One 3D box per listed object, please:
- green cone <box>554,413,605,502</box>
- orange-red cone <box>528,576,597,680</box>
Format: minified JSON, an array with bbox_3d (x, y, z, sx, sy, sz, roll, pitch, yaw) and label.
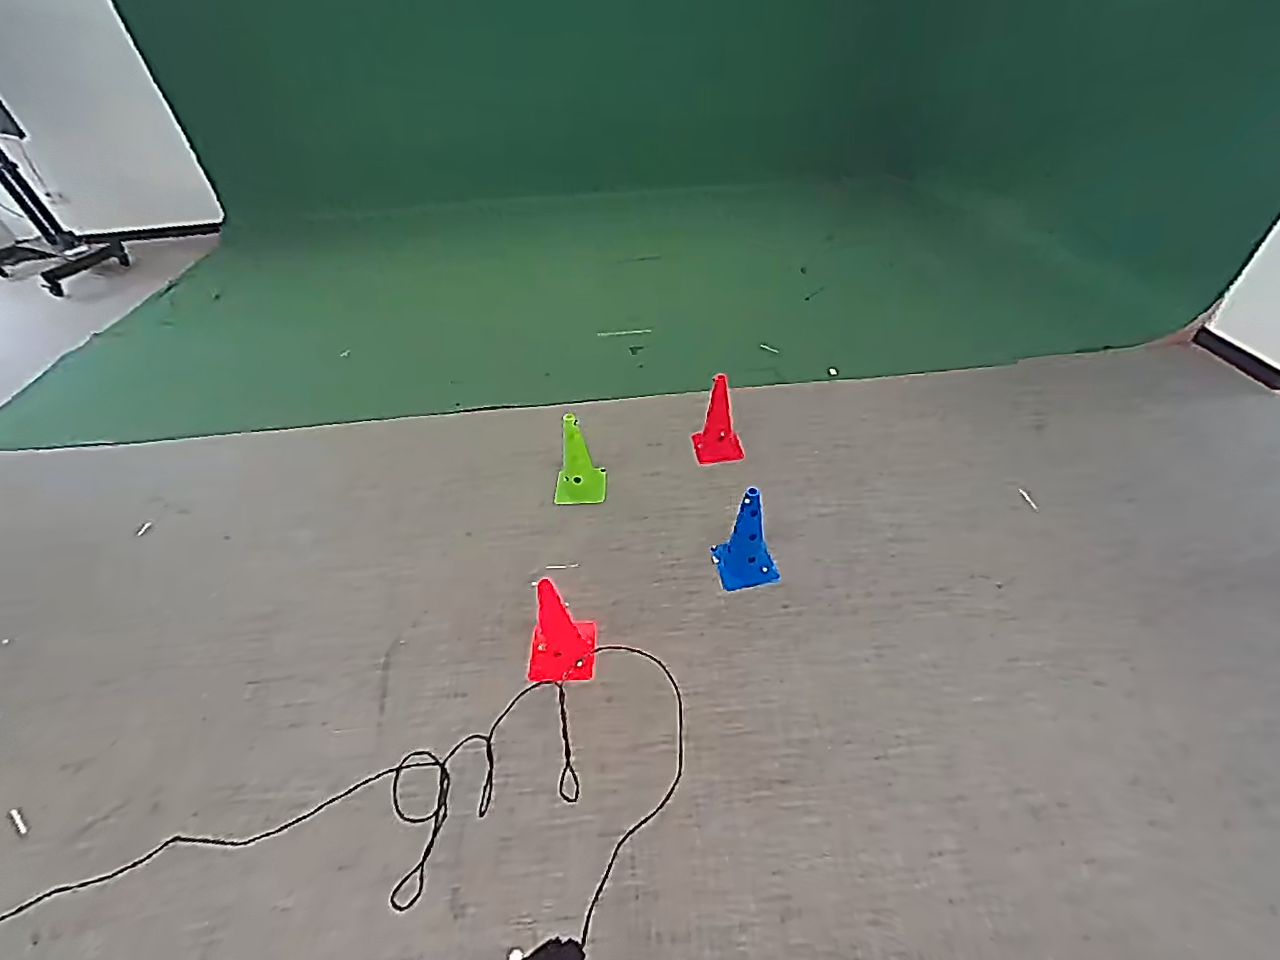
[{"bbox_3d":[-0.256,-0.108,2.088,0.200,0.368,0.202,-4,44,1],"label":"green cone"},{"bbox_3d":[-0.245,0.397,1.559,0.198,0.360,0.199,-1,42,2],"label":"orange-red cone"}]
